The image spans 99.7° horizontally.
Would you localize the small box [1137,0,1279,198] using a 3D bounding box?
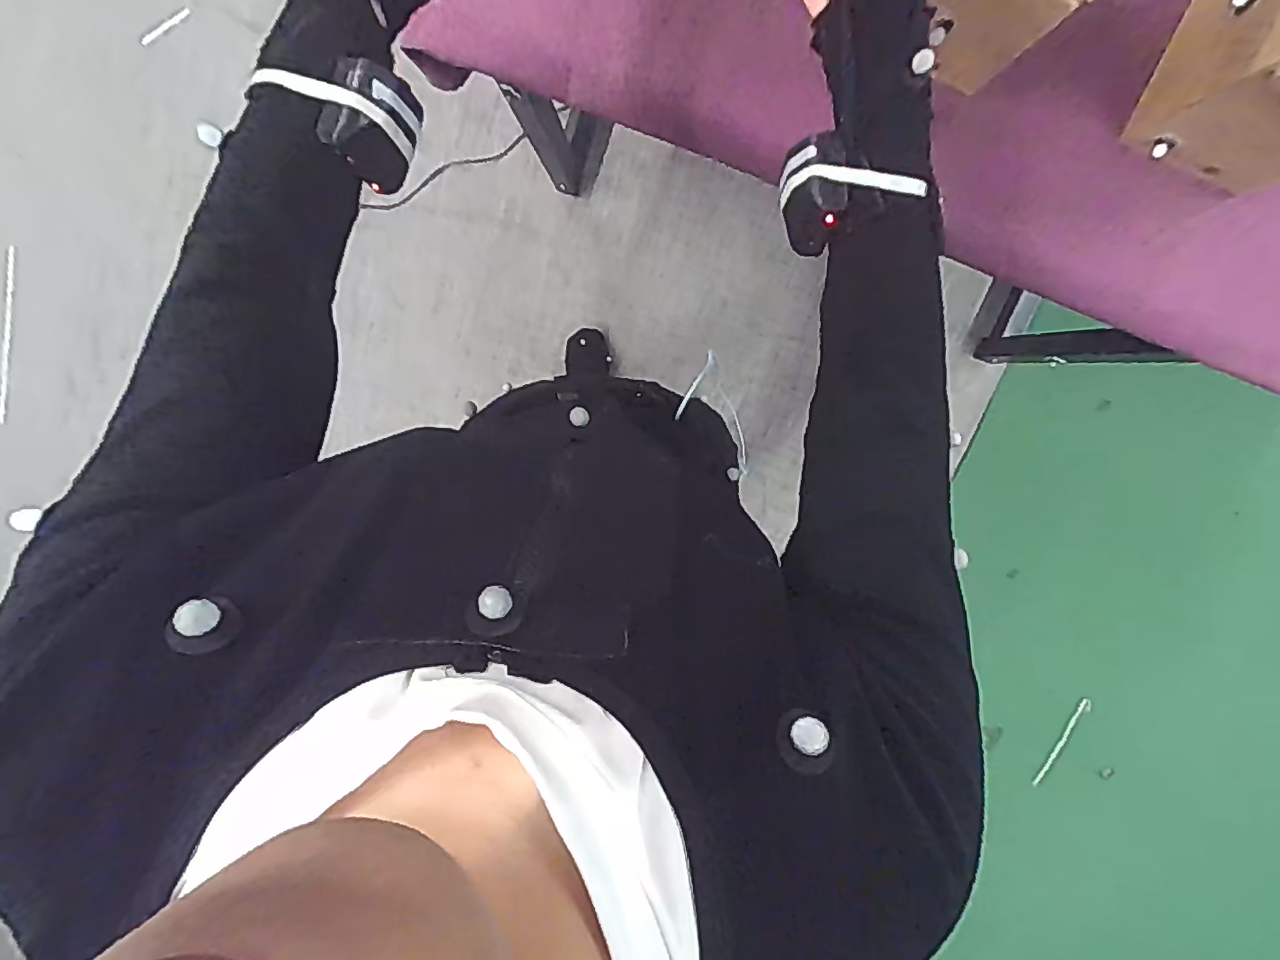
[{"bbox_3d":[0.667,-0.417,0.540,0.168,0.176,0.179,24,102,-6],"label":"small box"}]
